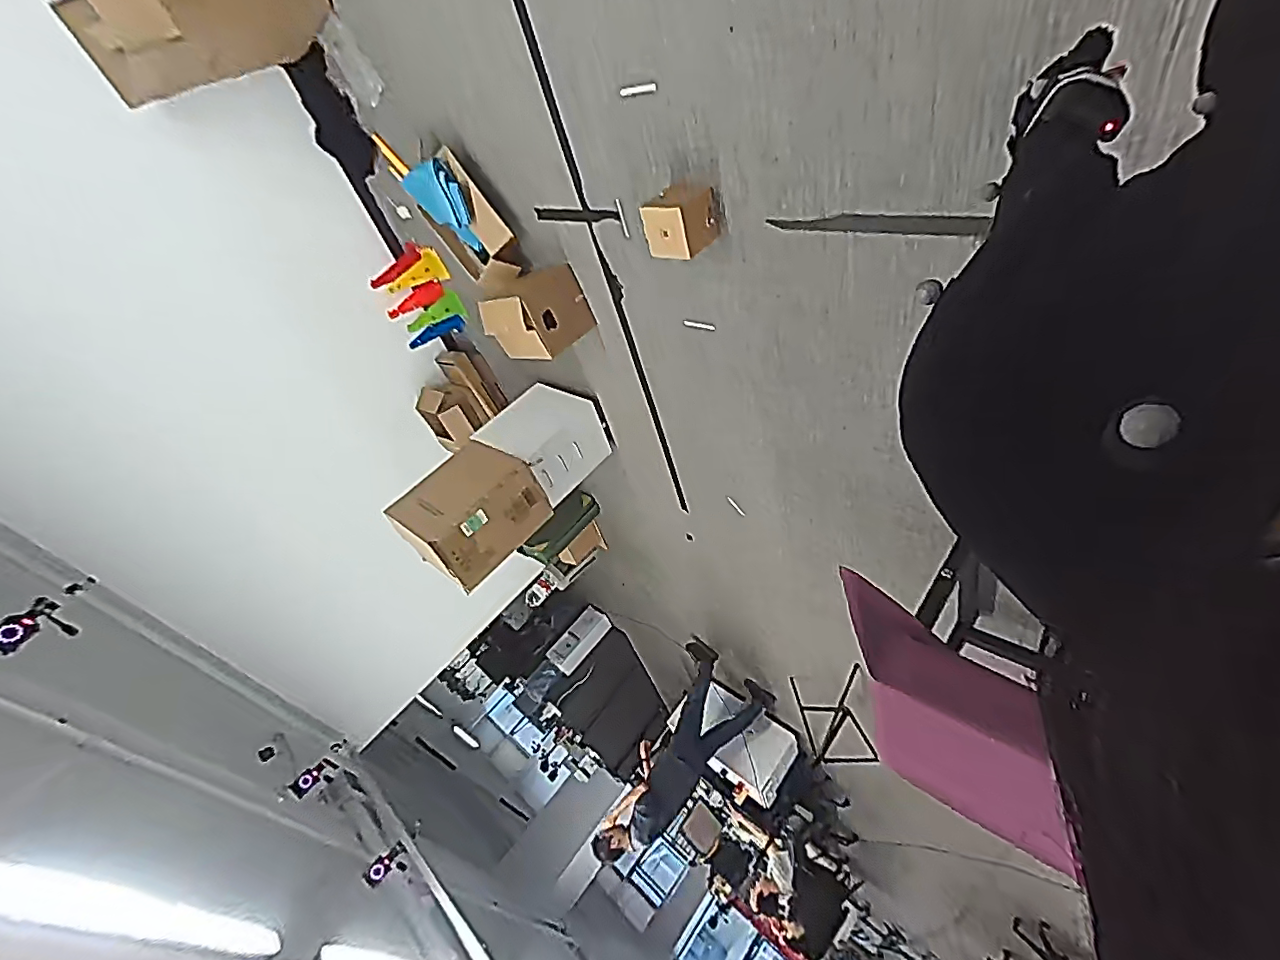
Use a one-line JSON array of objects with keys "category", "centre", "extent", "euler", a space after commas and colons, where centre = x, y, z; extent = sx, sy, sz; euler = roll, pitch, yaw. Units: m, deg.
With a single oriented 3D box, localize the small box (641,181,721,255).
[{"category": "small box", "centre": [0.138, -0.855, 1.763], "extent": [0.179, 0.176, 0.168], "euler": [22, 147, 38]}]
